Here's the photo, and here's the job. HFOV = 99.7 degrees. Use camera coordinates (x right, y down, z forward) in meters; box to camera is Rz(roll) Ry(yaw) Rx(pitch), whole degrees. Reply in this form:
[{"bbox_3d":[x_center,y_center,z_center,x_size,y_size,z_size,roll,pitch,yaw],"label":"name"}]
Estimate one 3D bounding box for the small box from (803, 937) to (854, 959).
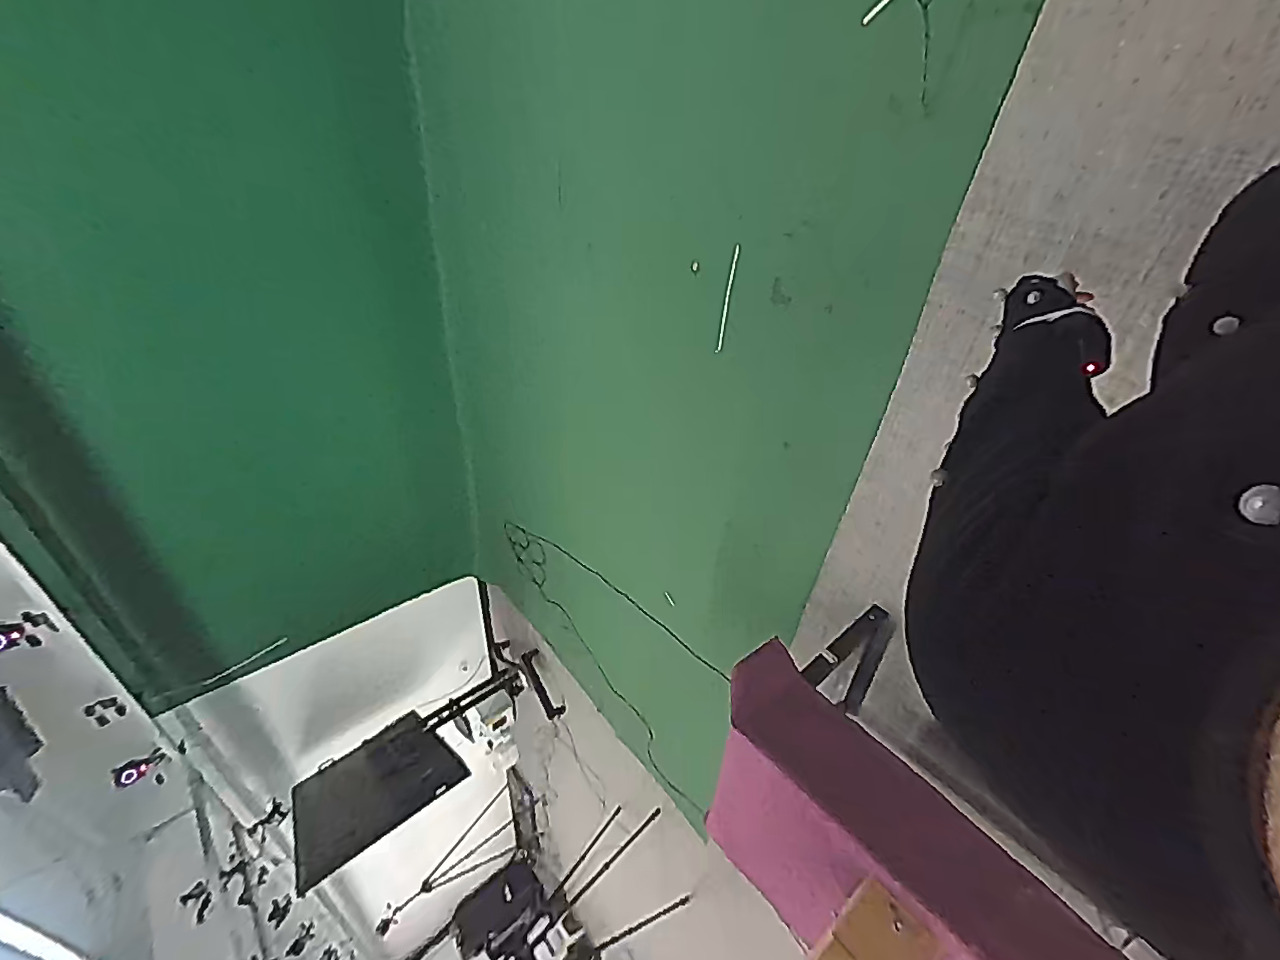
[{"bbox_3d":[0.378,1.066,1.075,0.168,0.176,0.179,40,139,35],"label":"small box"}]
